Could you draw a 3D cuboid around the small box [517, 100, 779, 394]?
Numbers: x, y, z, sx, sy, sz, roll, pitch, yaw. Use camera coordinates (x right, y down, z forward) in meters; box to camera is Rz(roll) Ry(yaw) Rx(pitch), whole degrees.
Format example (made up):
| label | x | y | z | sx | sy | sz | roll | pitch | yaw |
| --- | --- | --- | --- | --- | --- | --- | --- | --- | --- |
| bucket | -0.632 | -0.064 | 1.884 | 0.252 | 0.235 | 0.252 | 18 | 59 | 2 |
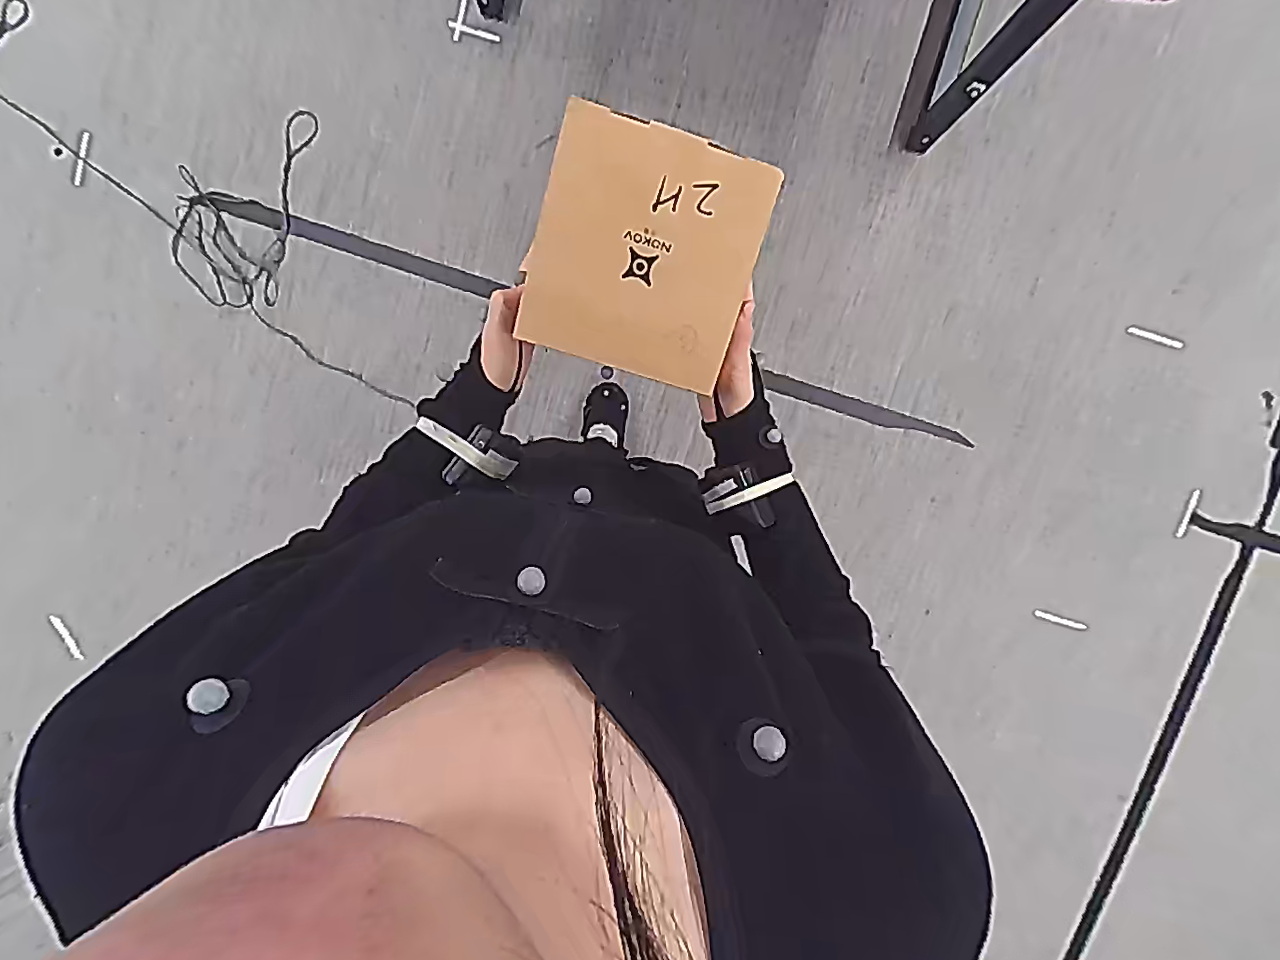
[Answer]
| label | x | y | z | sx | sy | sz | roll | pitch | yaw |
| --- | --- | --- | --- | --- | --- | --- | --- | --- | --- |
| small box | 0.003 | -0.191 | 0.492 | 0.168 | 0.176 | 0.179 | 16 | 103 | -5 |
